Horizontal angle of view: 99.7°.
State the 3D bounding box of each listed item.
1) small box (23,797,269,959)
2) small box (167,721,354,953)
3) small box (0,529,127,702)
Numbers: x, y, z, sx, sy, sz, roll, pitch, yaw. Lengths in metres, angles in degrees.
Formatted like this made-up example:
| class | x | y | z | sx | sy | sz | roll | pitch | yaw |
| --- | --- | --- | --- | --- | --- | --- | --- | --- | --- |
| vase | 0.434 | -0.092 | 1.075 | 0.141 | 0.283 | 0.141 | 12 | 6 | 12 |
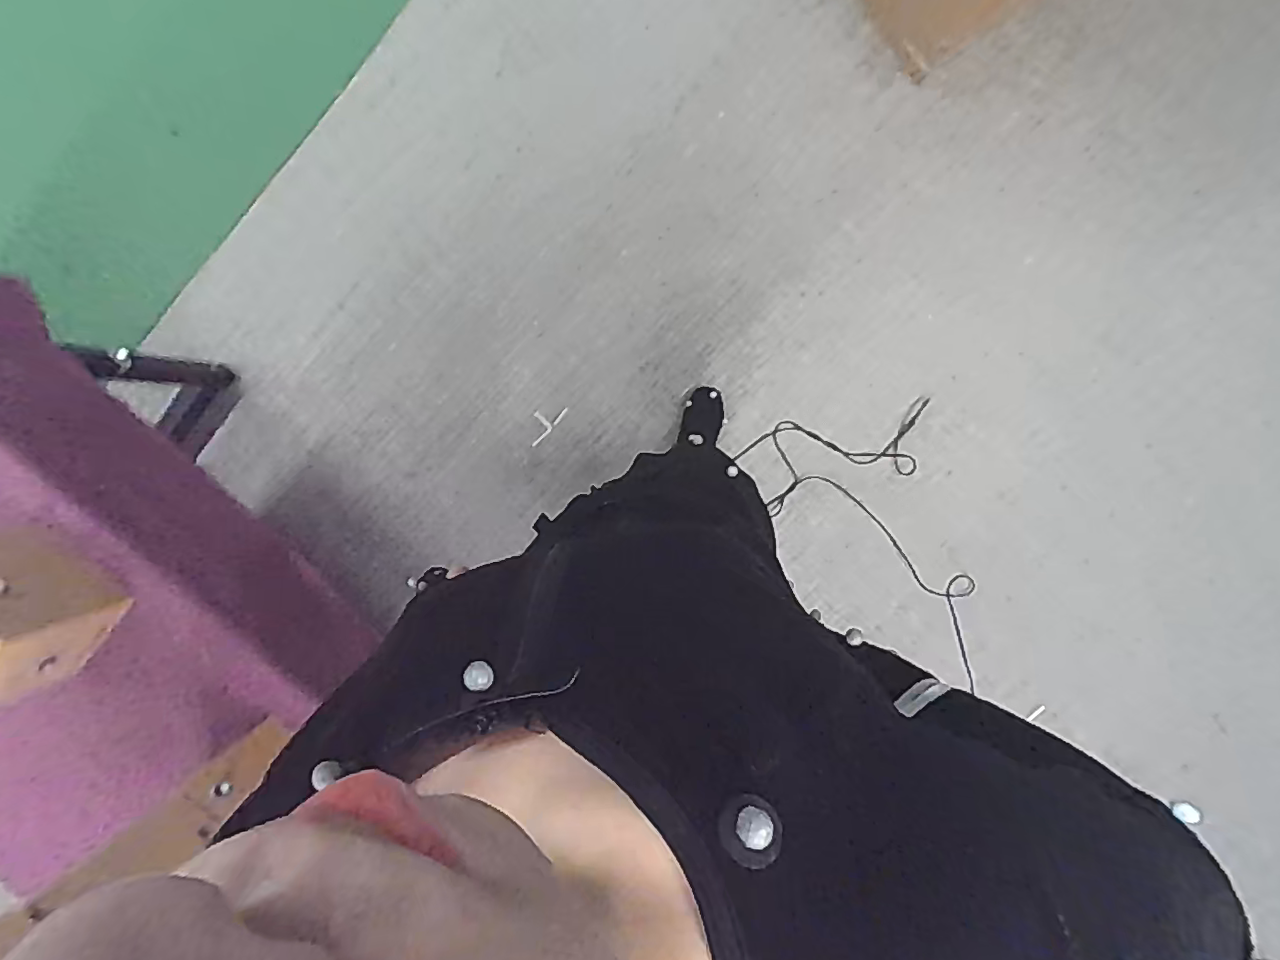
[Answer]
| class | x | y | z | sx | sy | sz | roll | pitch | yaw |
| --- | --- | --- | --- | --- | --- | --- | --- | --- | --- |
| small box | -0.559 | 0.502 | 0.594 | 0.168 | 0.176 | 0.179 | 41 | 98 | -1 |
| small box | -0.549 | 0.482 | 0.756 | 0.179 | 0.176 | 0.168 | 41 | 97 | -2 |
| small box | -0.876 | 0.188 | 0.735 | 0.179 | 0.176 | 0.168 | 43 | 96 | -3 |
